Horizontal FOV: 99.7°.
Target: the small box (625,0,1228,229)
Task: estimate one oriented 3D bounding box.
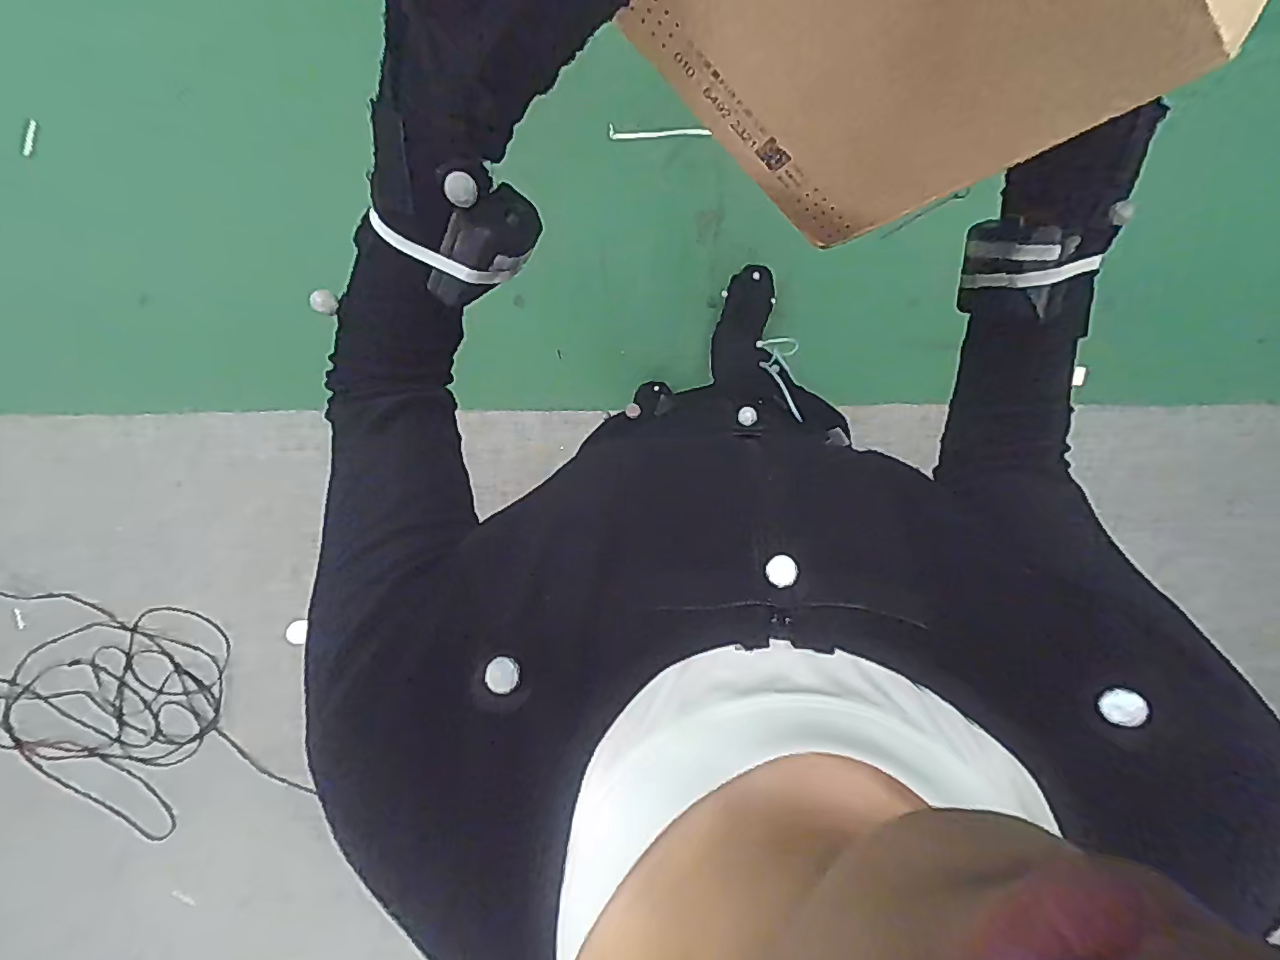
[{"bbox_3d":[0.120,-0.250,0.225,0.168,0.176,0.179,37,77,-21],"label":"small box"}]
